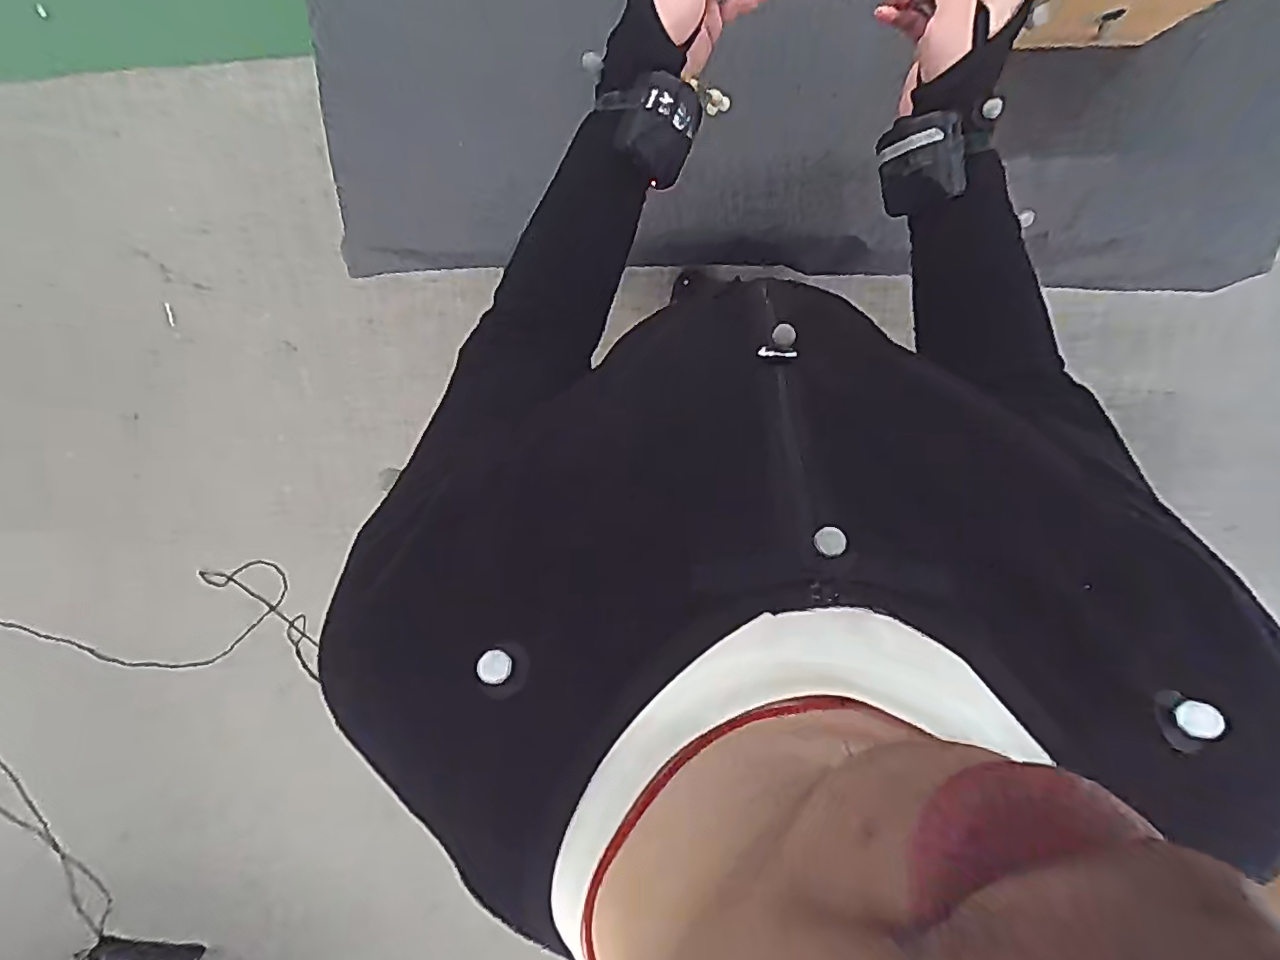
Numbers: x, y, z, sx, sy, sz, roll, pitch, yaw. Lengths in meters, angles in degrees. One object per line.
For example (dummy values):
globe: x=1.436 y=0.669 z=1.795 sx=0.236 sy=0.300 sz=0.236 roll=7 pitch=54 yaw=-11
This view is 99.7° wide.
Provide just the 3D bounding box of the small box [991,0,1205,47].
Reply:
small box: x=0.473 y=-0.546 z=0.518 sx=0.168 sy=0.176 sz=0.179 roll=2 pitch=111 yaw=6
